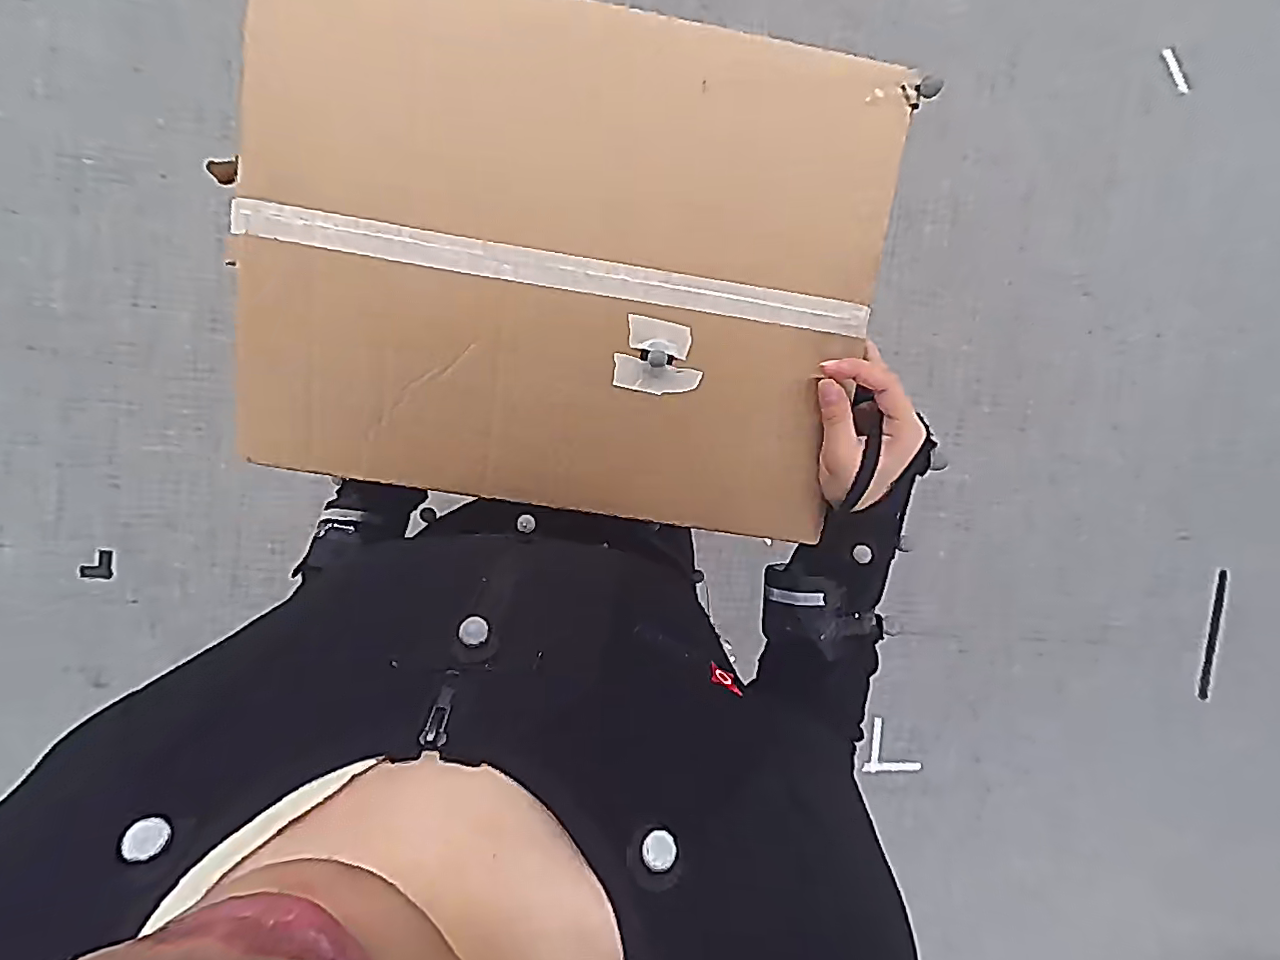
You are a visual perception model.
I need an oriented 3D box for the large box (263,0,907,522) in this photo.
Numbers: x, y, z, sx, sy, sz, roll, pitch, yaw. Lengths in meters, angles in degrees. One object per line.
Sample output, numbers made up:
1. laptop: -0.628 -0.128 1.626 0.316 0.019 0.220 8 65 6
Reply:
1. large box: -0.051 -0.165 0.506 0.408 0.320 0.320 8 100 -5
